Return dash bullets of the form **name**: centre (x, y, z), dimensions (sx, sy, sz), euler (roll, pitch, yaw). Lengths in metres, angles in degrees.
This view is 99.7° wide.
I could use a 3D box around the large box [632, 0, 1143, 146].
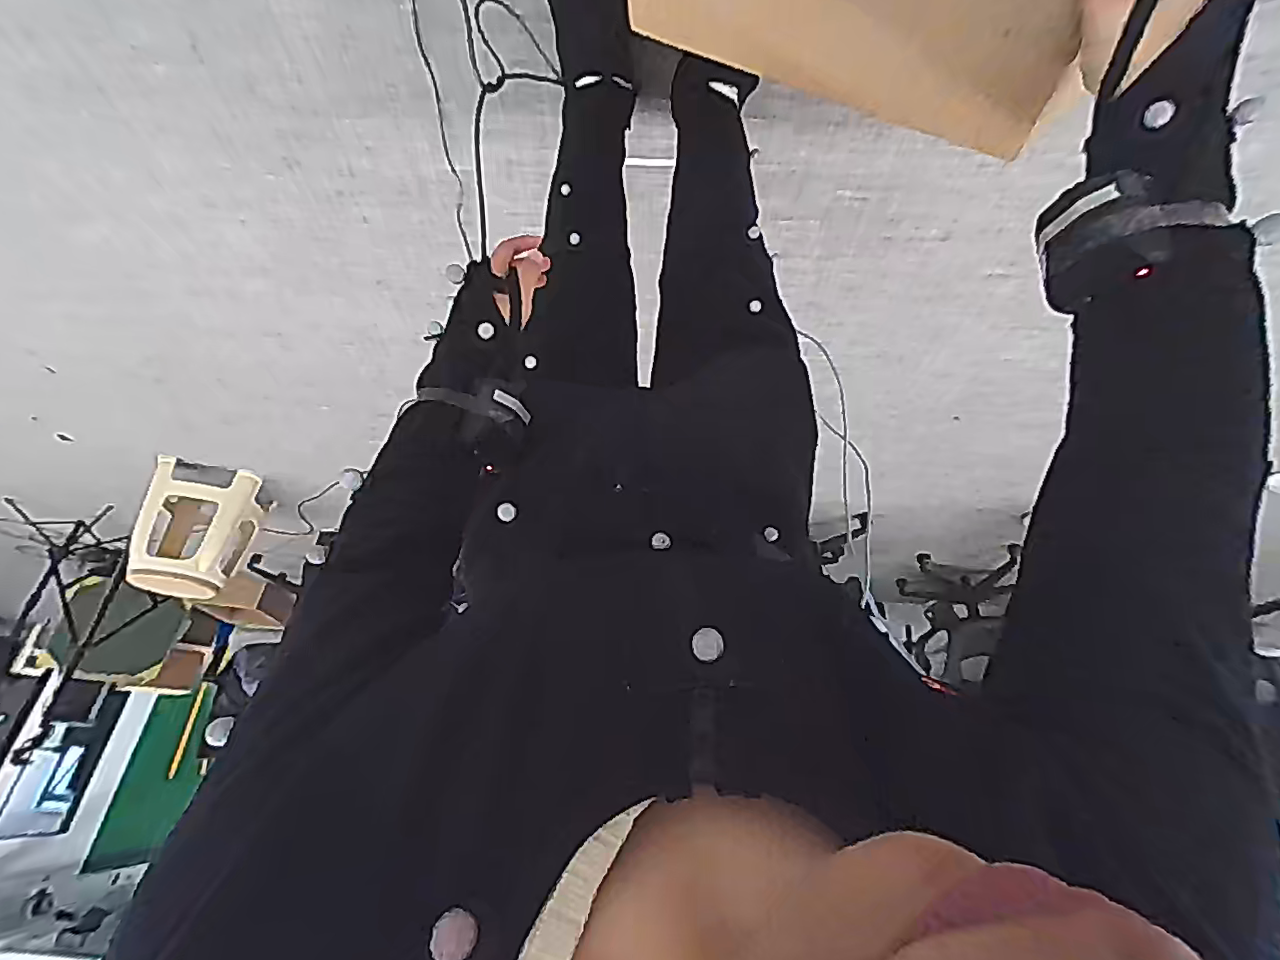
- **large box**: centre (0.235, -0.539, 0.420), dimensions (0.408, 0.320, 0.320), euler (34, 156, 20)
